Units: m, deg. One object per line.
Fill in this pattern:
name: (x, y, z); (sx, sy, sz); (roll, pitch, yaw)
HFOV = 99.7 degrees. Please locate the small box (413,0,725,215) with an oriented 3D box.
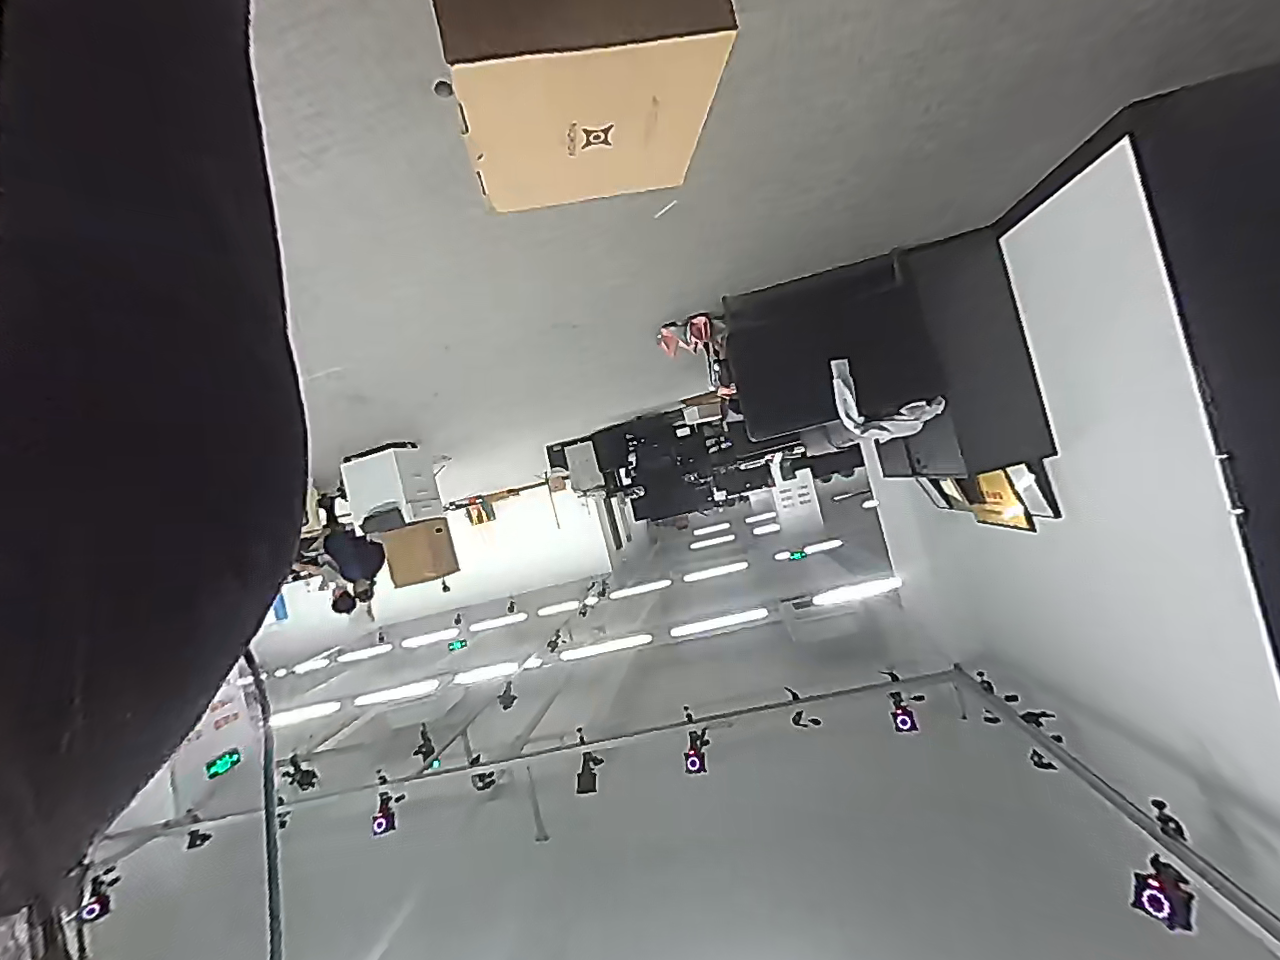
small box: (-0.063, -0.323, 0.383); (0.179, 0.176, 0.168); (-14, 180, -9)
